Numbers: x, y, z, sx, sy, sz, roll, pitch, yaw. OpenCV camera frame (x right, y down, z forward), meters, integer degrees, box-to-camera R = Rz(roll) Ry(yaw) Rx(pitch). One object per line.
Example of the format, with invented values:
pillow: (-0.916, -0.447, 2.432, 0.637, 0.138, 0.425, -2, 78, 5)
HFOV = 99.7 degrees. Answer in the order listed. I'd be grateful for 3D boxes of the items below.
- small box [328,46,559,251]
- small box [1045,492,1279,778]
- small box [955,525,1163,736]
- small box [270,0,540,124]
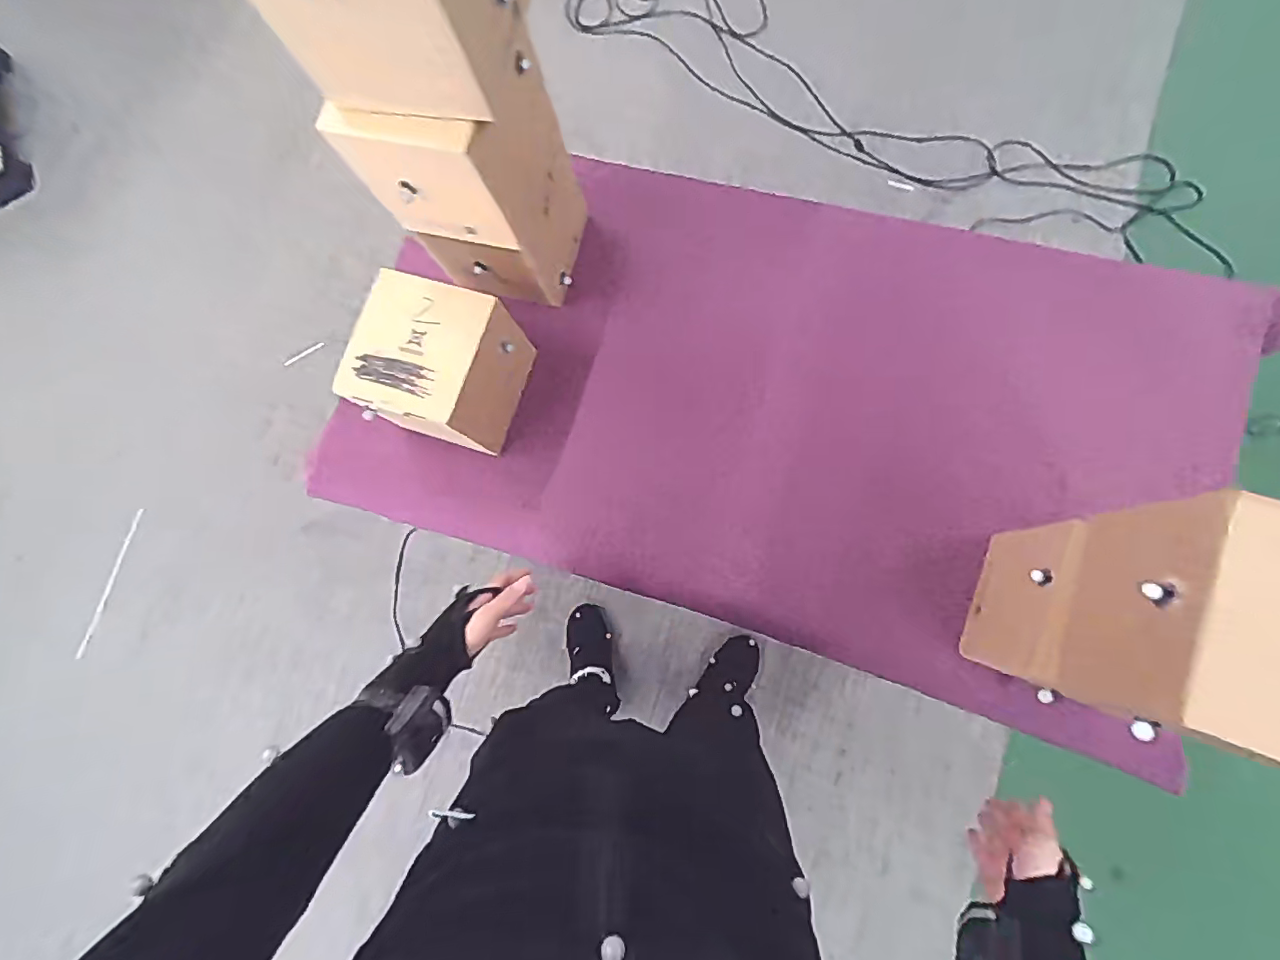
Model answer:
small box: (-0.207, -0.394, 0.622, 0.168, 0.176, 0.179, 14, 82, 9)
small box: (0.480, 0.130, 0.443, 0.168, 0.176, 0.179, 21, 83, 12)
small box: (0.496, 0.163, 0.602, 0.179, 0.176, 0.168, 21, 81, 10)
small box: (-0.207, -0.444, 0.463, 0.179, 0.176, 0.168, 11, 82, 8)
